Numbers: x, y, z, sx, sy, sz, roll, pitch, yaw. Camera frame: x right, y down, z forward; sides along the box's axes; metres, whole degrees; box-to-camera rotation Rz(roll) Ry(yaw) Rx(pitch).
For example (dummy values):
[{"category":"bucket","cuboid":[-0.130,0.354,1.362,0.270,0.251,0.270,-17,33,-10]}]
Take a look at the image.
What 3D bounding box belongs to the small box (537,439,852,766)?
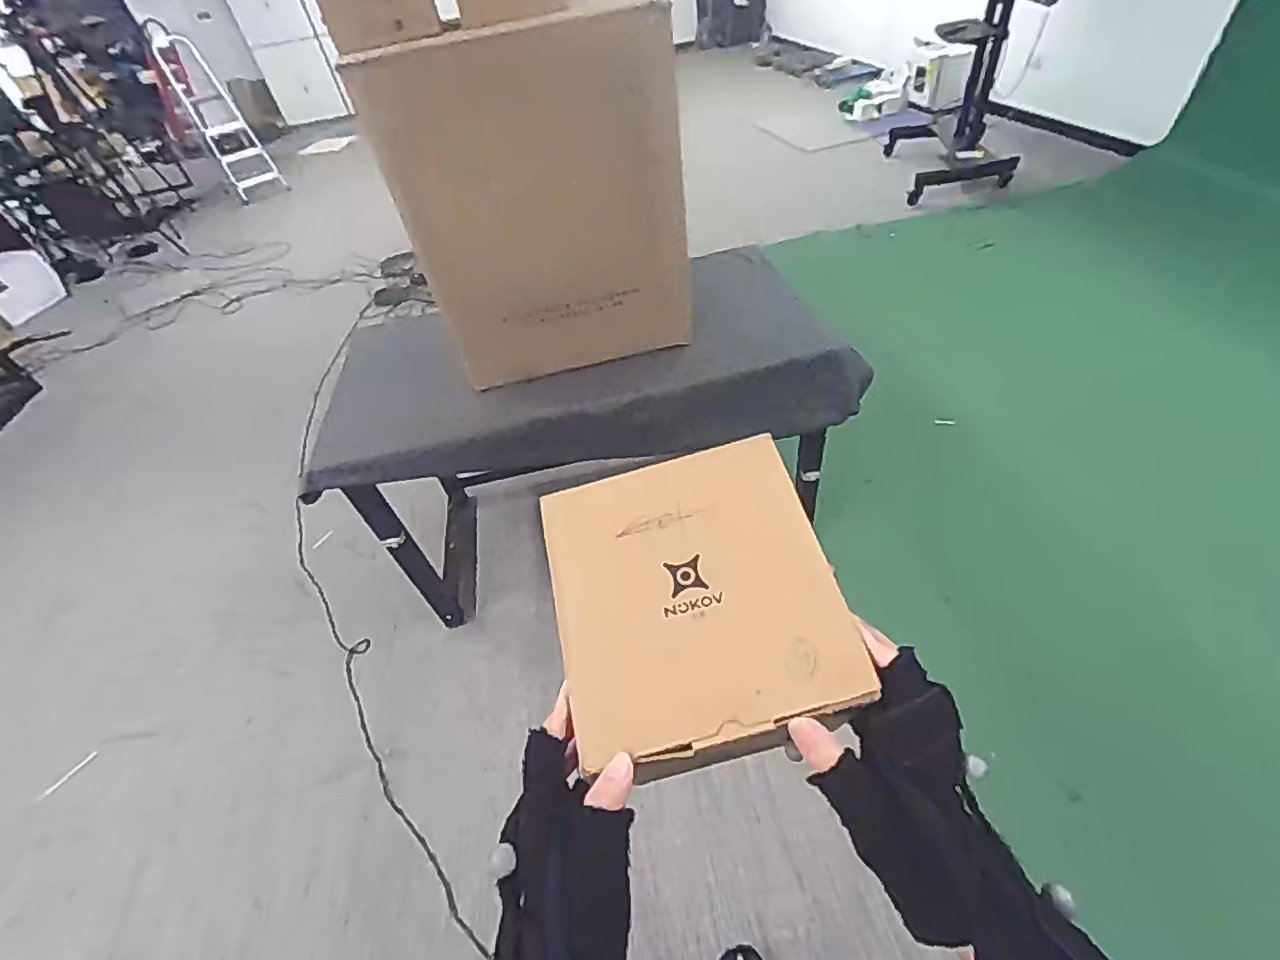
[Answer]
[{"category":"small box","cuboid":[0.035,0.103,0.406,0.168,0.176,0.179,-15,57,1]}]
